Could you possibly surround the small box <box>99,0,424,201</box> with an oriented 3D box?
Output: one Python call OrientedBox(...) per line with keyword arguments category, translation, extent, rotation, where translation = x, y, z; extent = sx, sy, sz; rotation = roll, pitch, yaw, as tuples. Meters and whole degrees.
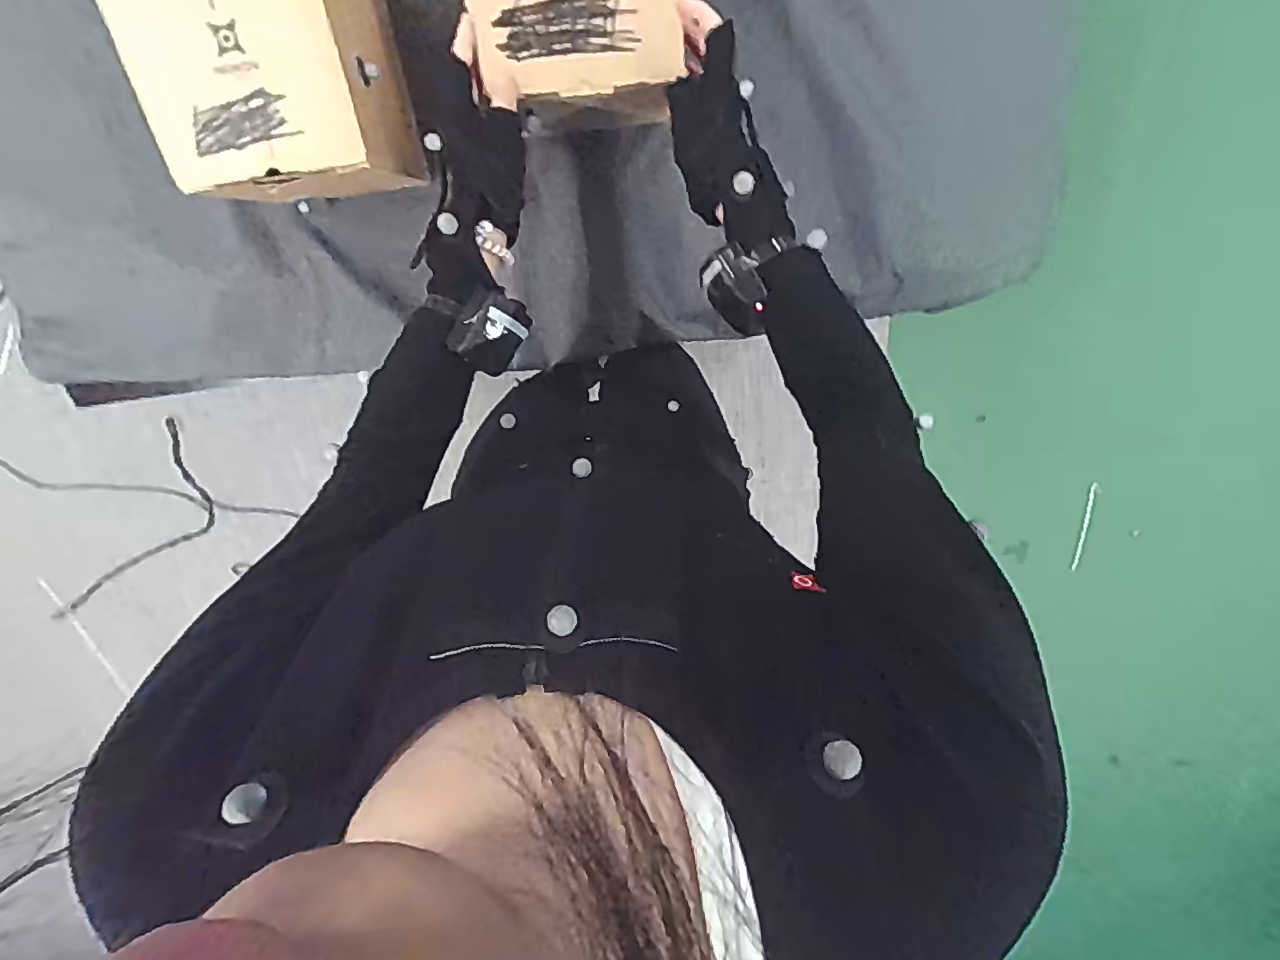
OrientedBox(category="small box", translation=(-0.319, -0.361, 0.494), extent=(0.168, 0.176, 0.179), rotation=(-7, 114, 0))
